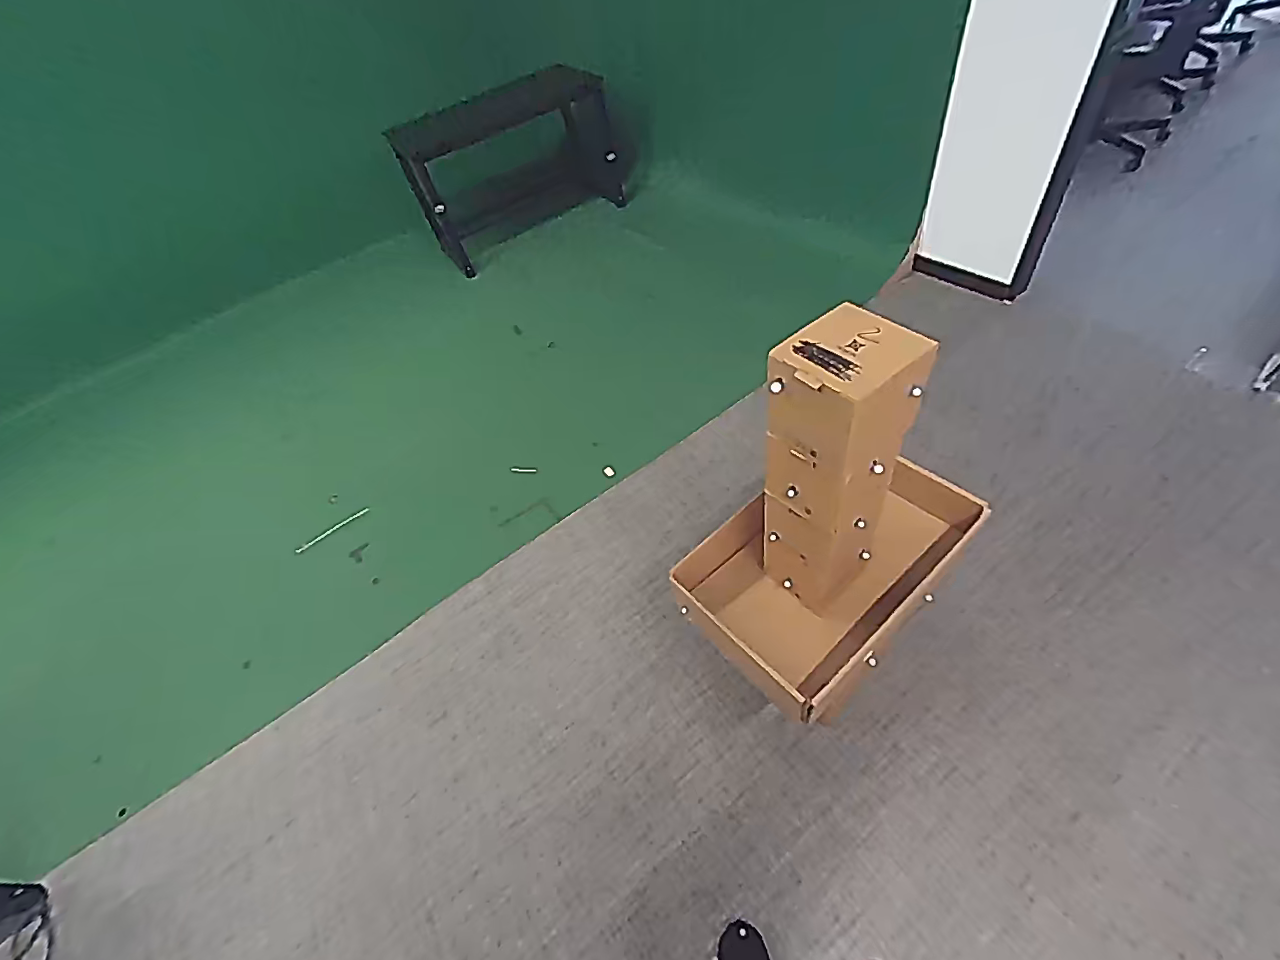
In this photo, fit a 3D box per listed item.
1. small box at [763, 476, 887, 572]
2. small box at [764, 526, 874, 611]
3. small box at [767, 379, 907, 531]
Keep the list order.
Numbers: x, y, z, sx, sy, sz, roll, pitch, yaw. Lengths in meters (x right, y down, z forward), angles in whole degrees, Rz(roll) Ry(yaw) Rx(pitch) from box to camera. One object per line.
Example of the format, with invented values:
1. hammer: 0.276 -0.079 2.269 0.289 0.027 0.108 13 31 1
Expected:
1. small box: 0.370 0.055 1.104 0.179 0.176 0.168 -38 53 -21
2. small box: 0.396 0.160 1.227 0.179 0.176 0.168 -37 52 -19
3. small box: 0.343 -0.044 0.979 0.179 0.176 0.168 -39 54 -20
